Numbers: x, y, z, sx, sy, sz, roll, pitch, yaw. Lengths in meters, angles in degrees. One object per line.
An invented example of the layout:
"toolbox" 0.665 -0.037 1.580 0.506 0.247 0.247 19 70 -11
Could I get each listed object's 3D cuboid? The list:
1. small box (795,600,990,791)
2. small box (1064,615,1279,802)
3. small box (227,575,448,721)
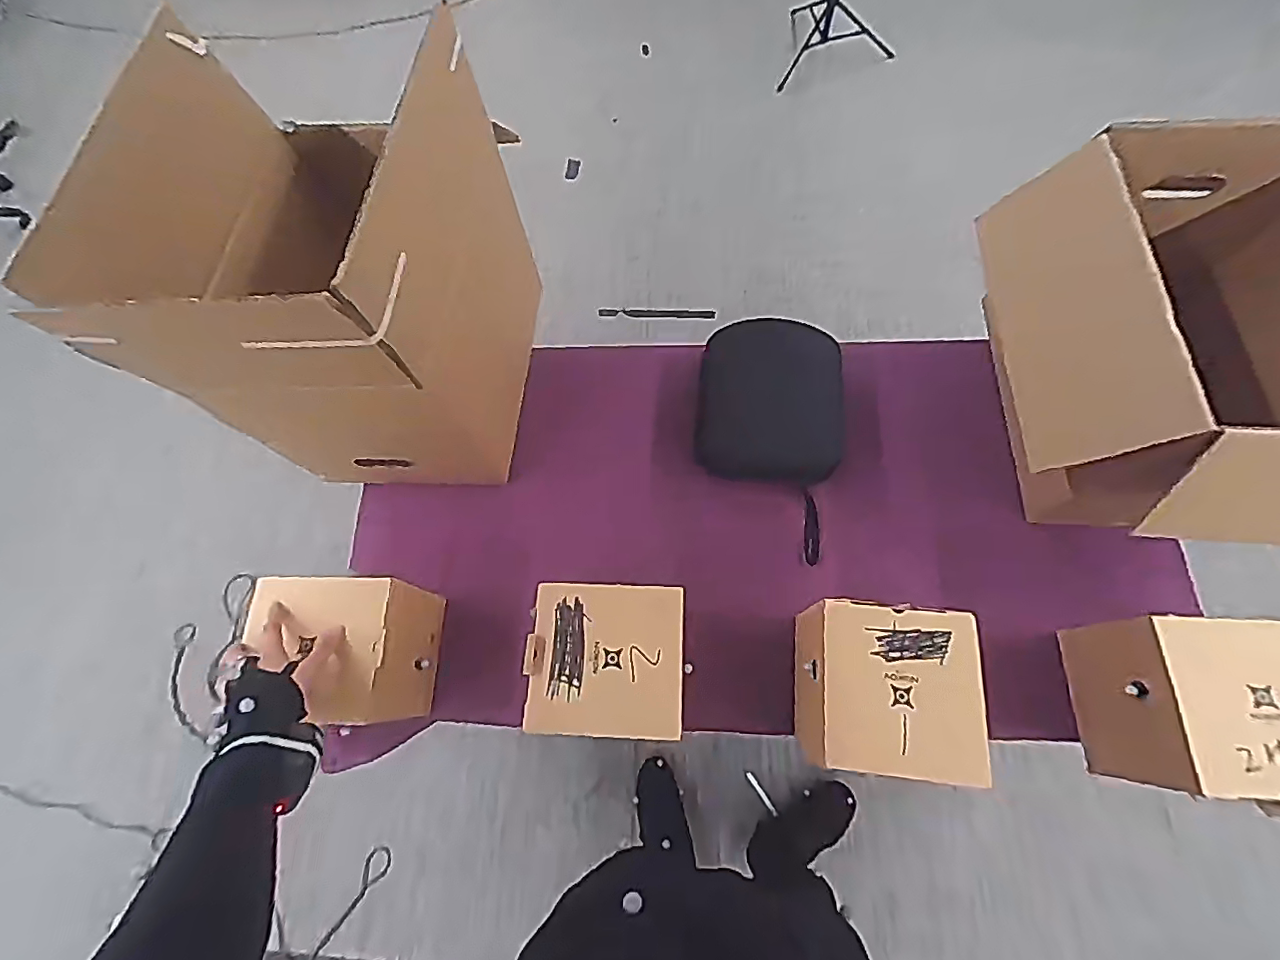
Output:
"small box" 0.286 0.252 0.652 0.168 0.176 0.179 5 70 7
"small box" 0.635 0.258 0.621 0.168 0.176 0.179 1 69 6
"small box" -0.380 0.225 0.715 0.179 0.176 0.168 0 69 3
